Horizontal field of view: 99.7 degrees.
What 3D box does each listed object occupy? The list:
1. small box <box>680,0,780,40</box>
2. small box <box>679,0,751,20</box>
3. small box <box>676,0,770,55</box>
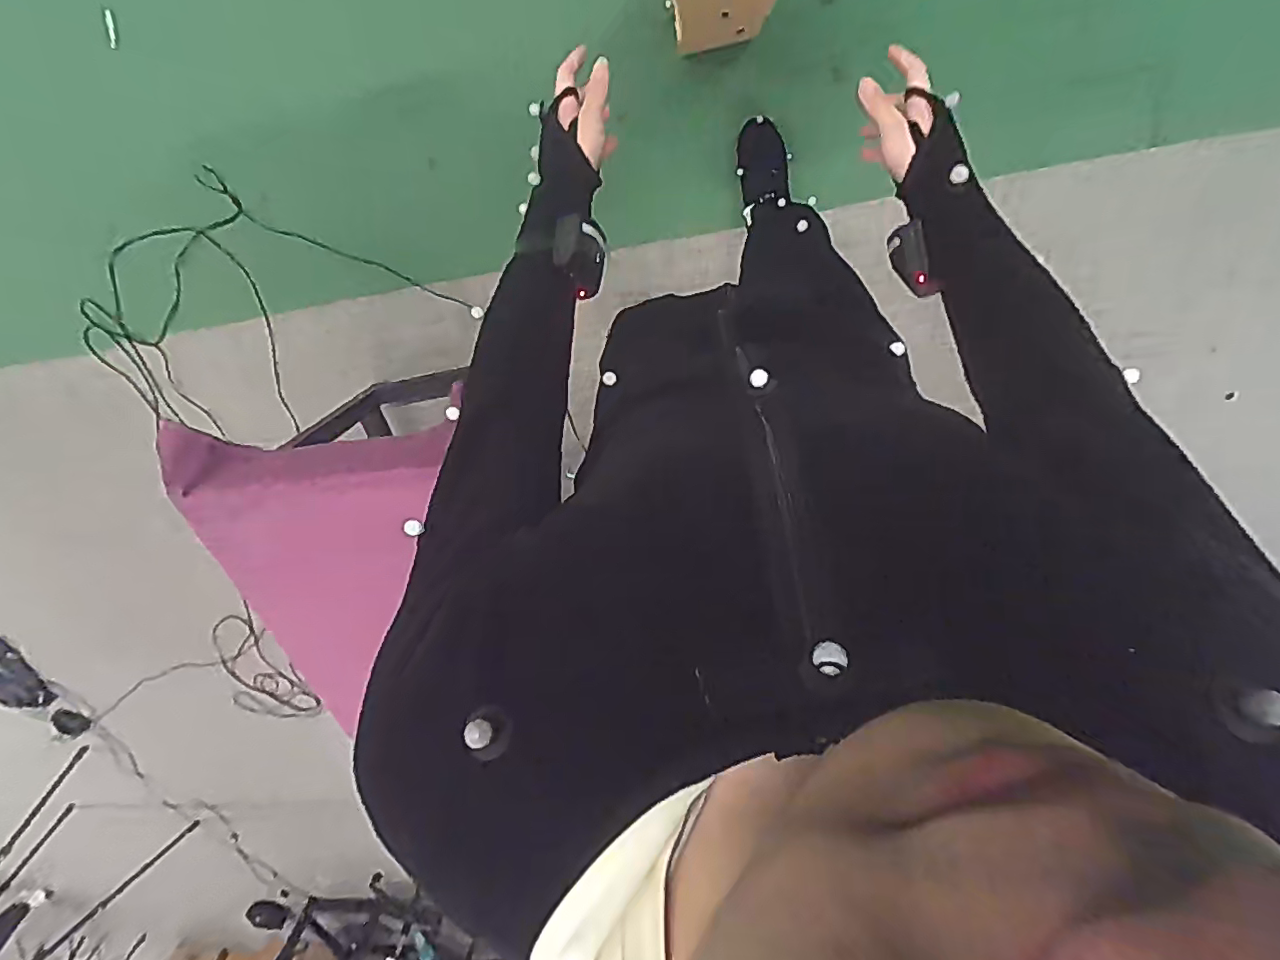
[{"bbox_3d":[0.151,-0.912,0.952,0.179,0.176,0.168,-8,119,12],"label":"small box"},{"bbox_3d":[0.131,-0.832,0.811,0.179,0.176,0.168,-10,119,12],"label":"small box"},{"bbox_3d":[0.161,-0.991,1.094,0.179,0.176,0.168,-6,119,10],"label":"small box"}]
